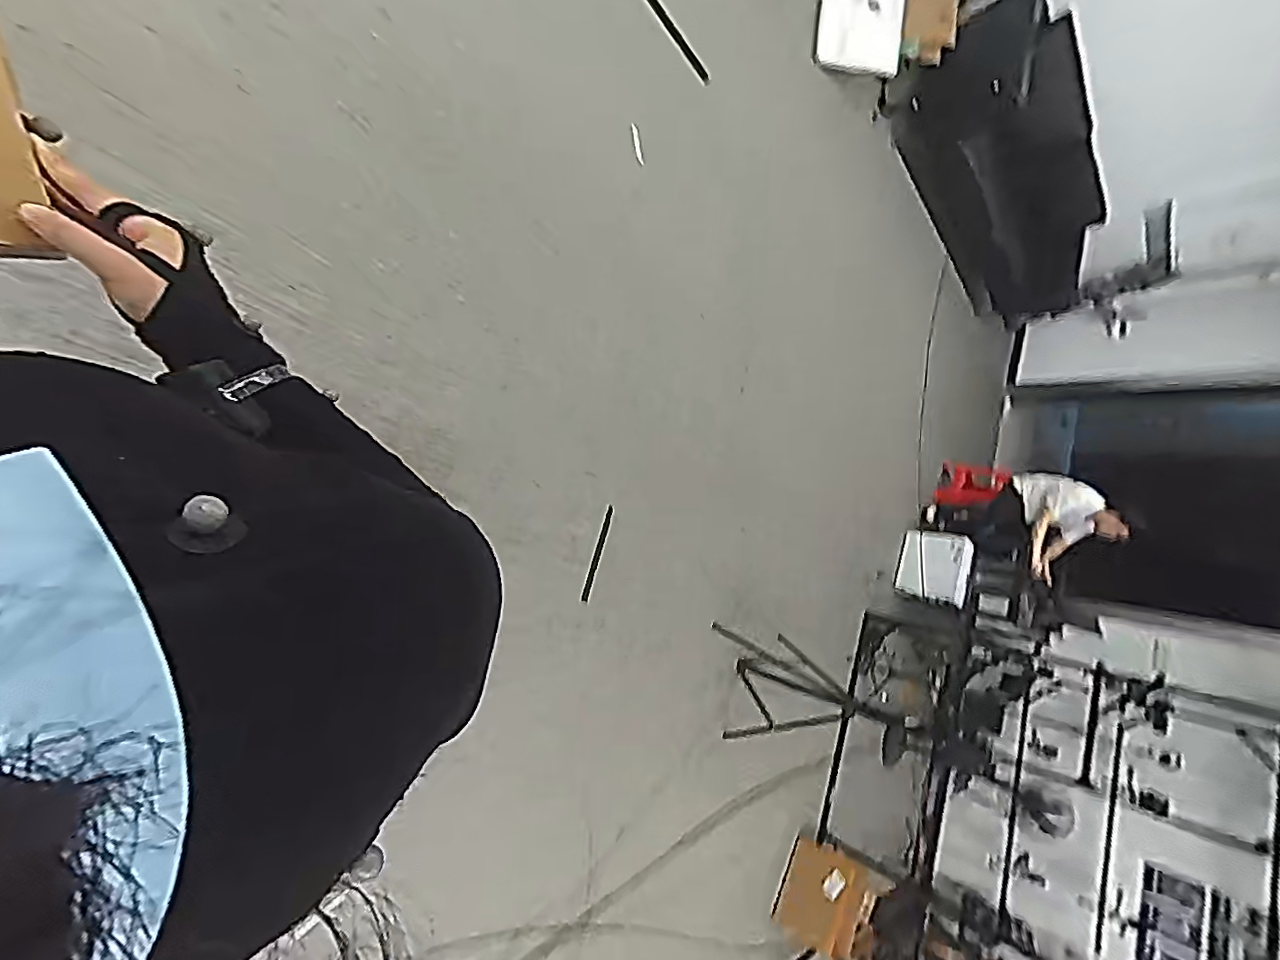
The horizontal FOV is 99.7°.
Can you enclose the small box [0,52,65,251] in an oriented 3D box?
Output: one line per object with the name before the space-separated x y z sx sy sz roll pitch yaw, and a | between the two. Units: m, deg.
small box | -0.504 -0.241 0.333 0.168 0.176 0.179 -20 119 -41
